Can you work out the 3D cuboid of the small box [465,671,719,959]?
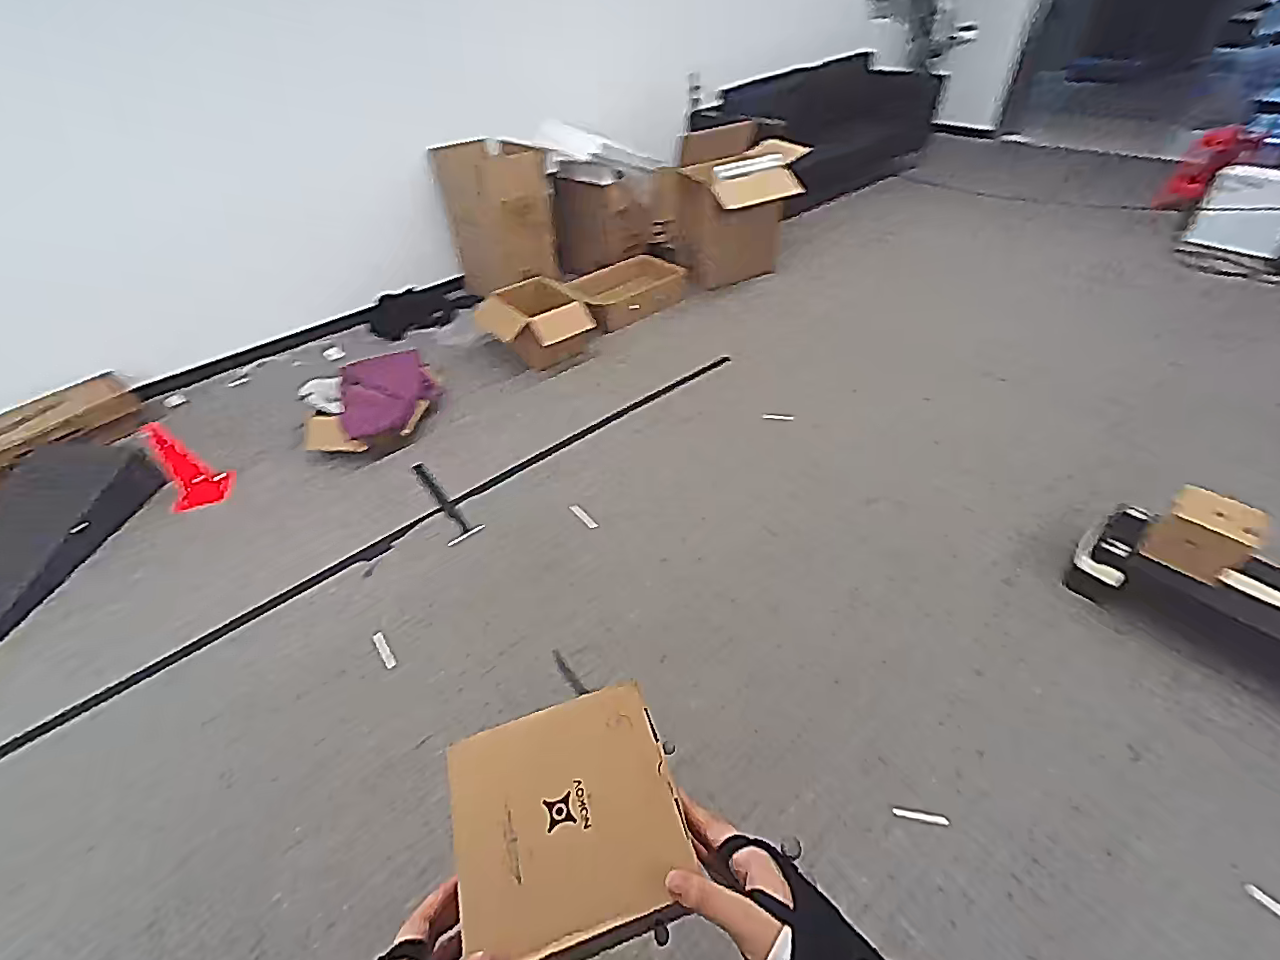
[{"bbox_3d":[-0.040,0.308,0.493,0.179,0.176,0.168,-18,48,-7],"label":"small box"}]

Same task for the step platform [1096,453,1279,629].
[{"bbox_3d":[1.617,0.200,1.385,0.286,0.204,0.684,-33,50,-27],"label":"step platform"}]

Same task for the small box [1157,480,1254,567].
[{"bbox_3d":[1.539,0.132,1.517,0.168,0.176,0.179,-36,51,-28],"label":"small box"}]
